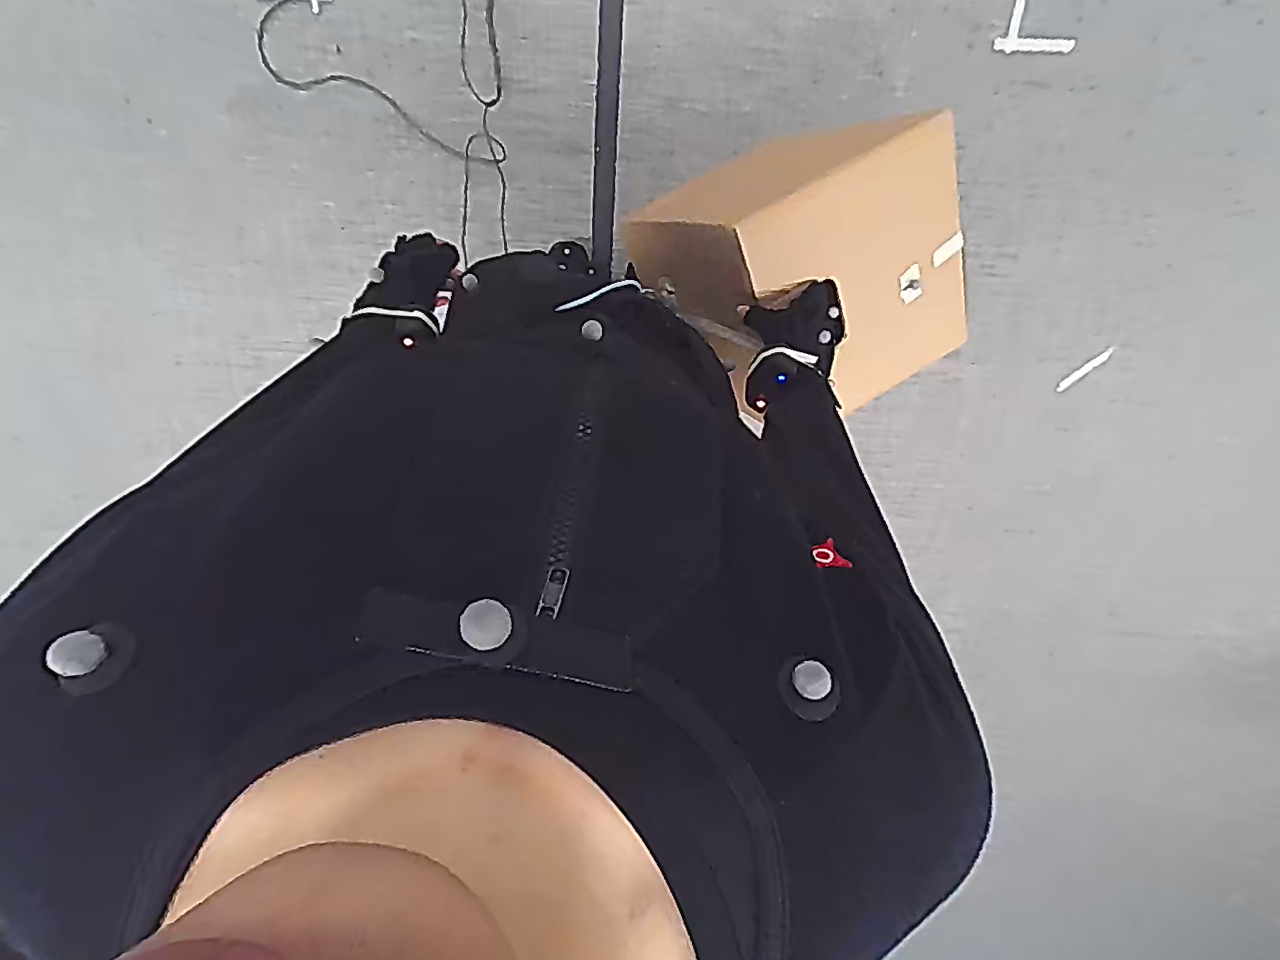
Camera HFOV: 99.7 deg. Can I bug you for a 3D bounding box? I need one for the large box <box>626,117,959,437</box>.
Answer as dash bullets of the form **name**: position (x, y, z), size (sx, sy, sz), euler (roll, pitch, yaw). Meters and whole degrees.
- **large box**: position (0.226, -0.329, 0.881), size (0.320, 0.408, 0.320), euler (-30, 122, -5)
